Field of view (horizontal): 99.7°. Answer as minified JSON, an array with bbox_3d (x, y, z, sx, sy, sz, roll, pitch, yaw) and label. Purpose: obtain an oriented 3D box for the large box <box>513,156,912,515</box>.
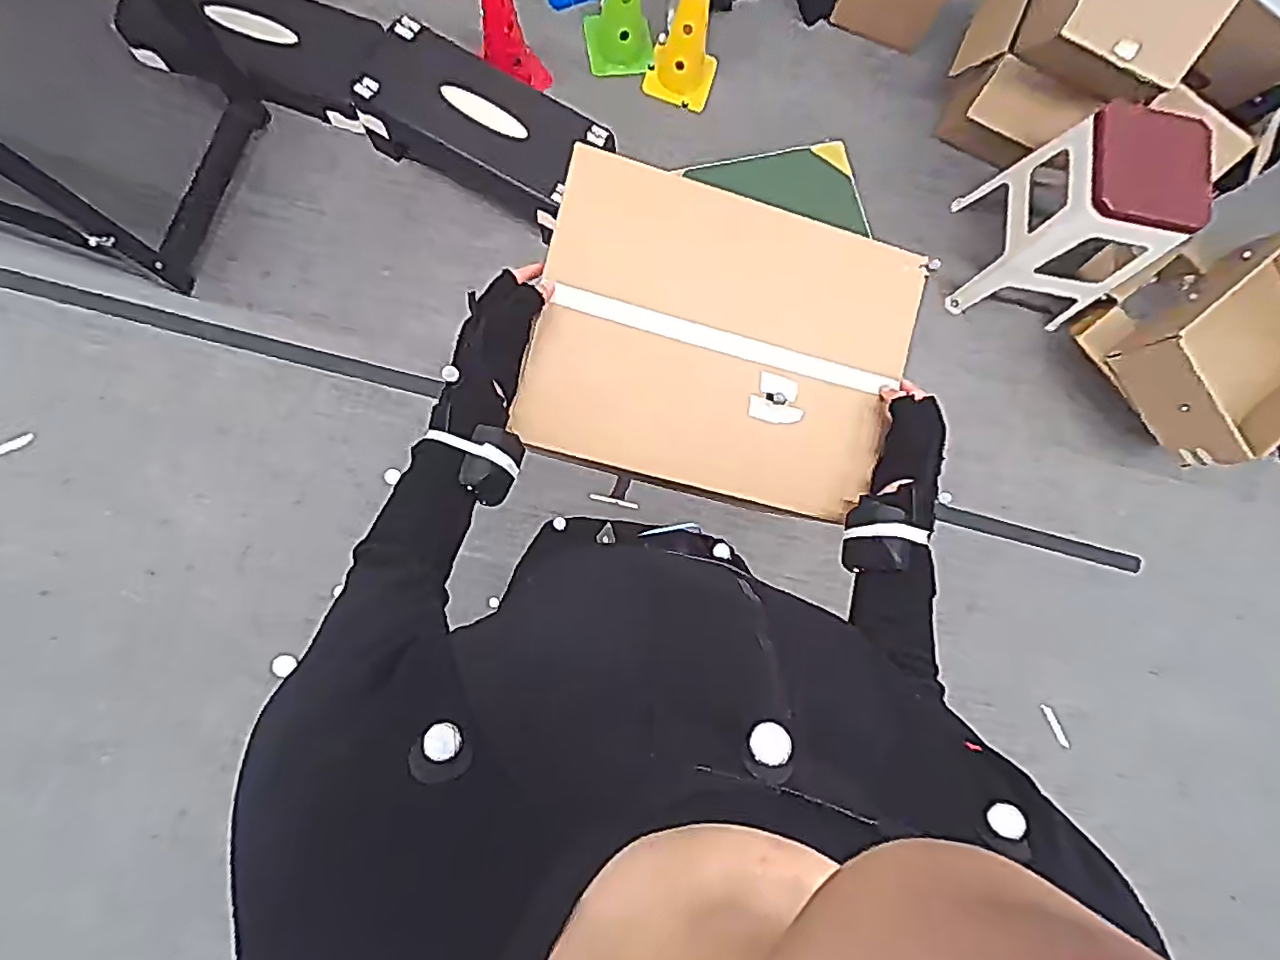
[{"bbox_3d":[0.067,-0.154,0.740,0.408,0.320,0.320,14,90,-8],"label":"large box"}]
